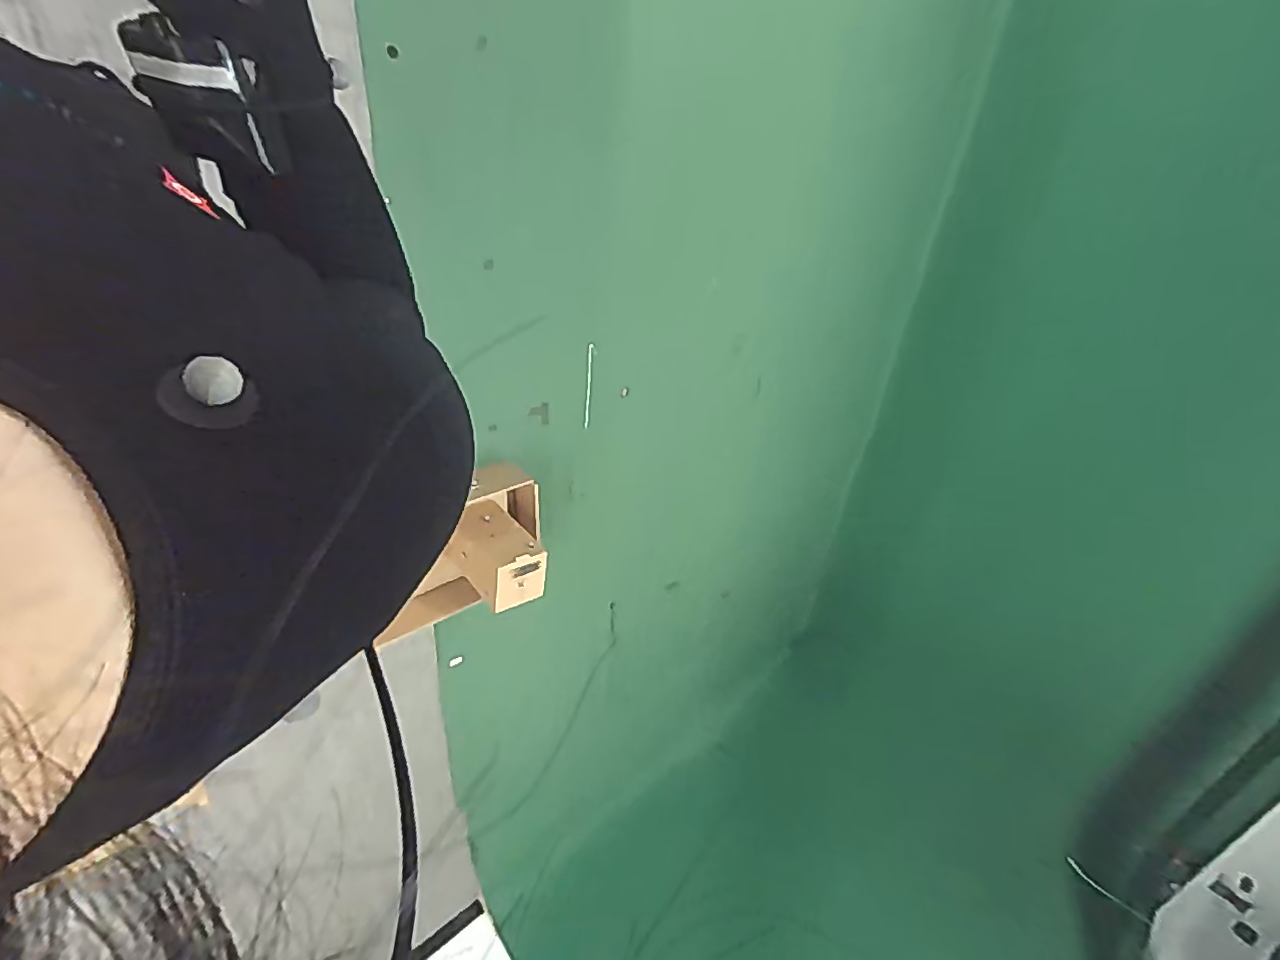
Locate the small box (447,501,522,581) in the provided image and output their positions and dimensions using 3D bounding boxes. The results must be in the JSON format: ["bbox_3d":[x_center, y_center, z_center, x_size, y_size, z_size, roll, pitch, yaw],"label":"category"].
[{"bbox_3d":[-0.503,0.190,1.755,0.179,0.176,0.168,-19,129,-36],"label":"small box"}]

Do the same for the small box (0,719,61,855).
[{"bbox_3d":[-1.257,0.602,1.032,0.168,0.176,0.179,-23,130,-39],"label":"small box"}]
